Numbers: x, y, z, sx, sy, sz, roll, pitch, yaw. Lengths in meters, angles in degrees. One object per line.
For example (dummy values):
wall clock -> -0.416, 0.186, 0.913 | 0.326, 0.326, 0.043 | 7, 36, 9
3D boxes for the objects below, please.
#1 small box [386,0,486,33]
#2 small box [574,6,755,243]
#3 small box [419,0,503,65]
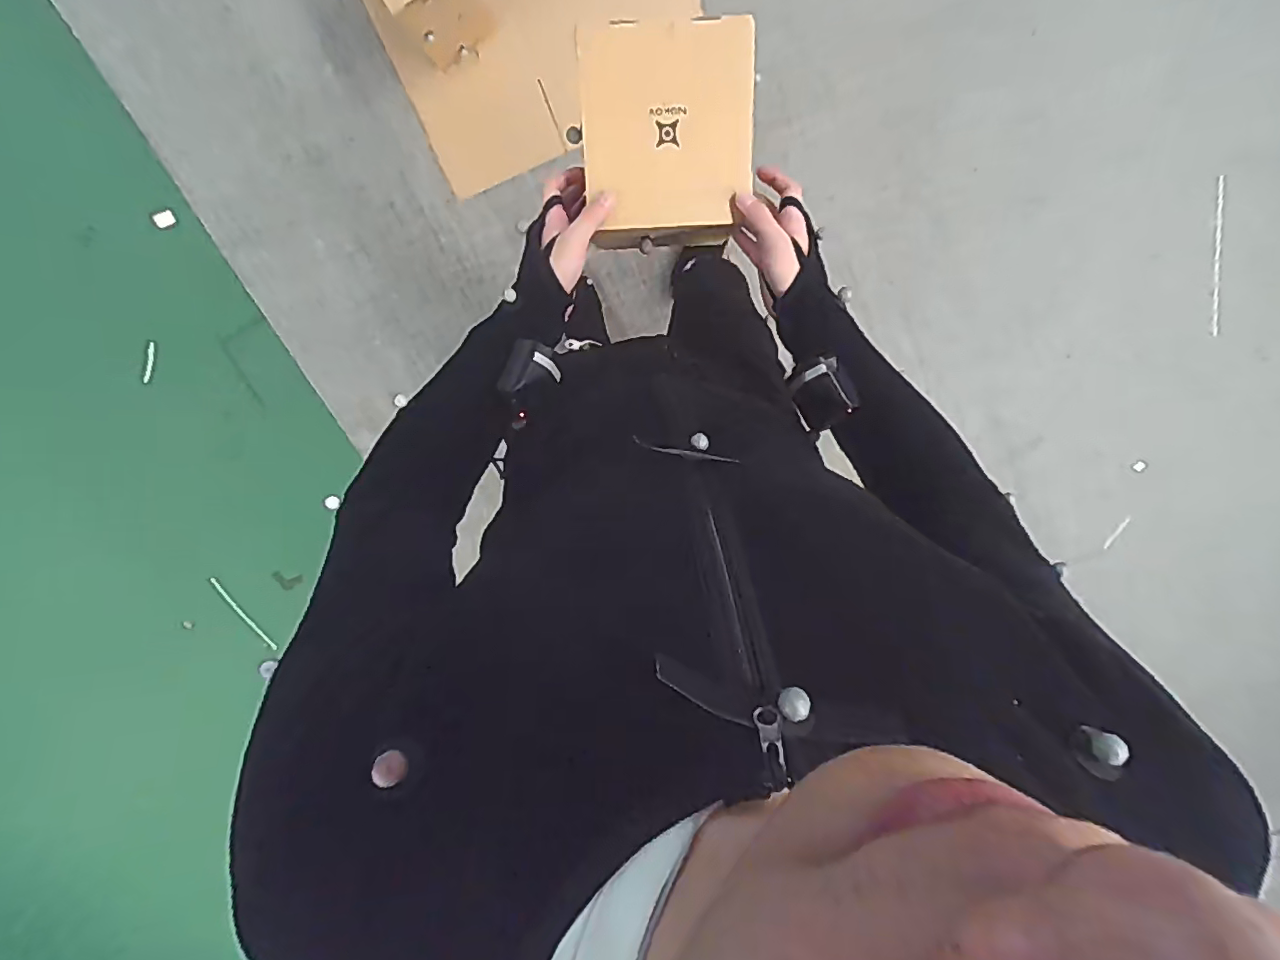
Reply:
small box -> -0.388, -0.931, 0.948 | 0.168, 0.176, 0.179 | -25, 113, 6
small box -> 0.025, -0.360, 0.584 | 0.168, 0.176, 0.179 | -4, 106, 0
small box -> -0.402, -0.998, 1.097 | 0.168, 0.176, 0.179 | -28, 114, 7
